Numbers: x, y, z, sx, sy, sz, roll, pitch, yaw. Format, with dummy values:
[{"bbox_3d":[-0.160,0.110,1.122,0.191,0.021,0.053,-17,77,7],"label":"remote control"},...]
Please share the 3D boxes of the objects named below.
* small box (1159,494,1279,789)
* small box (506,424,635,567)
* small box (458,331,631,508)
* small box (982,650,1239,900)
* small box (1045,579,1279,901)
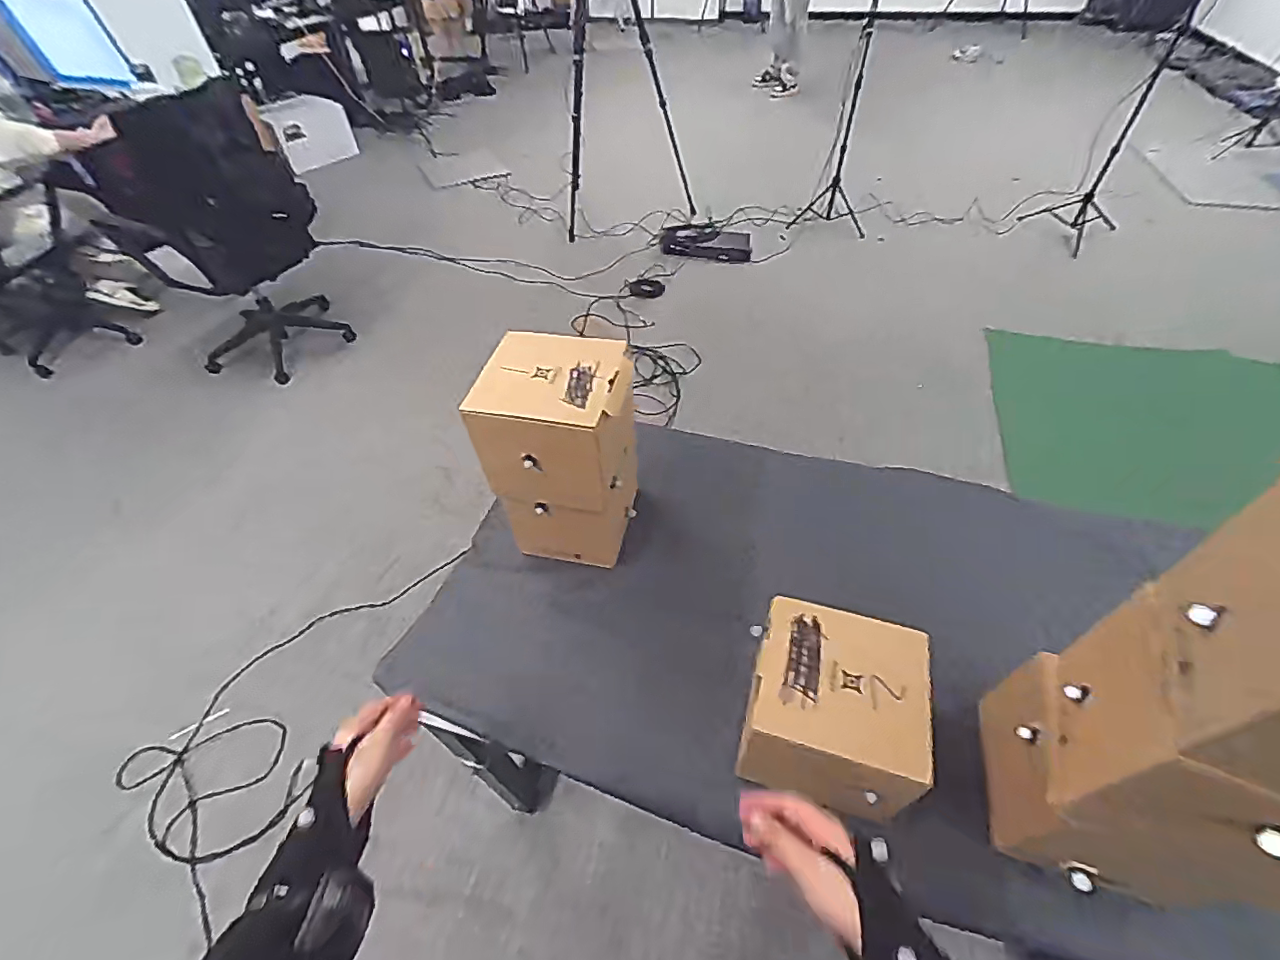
[{"bbox_3d":[0.483,0.108,0.335,0.179,0.176,0.168,21,52,22],"label":"small box"},{"bbox_3d":[-0.105,0.015,0.881,0.168,0.176,0.179,8,51,9],"label":"small box"},{"bbox_3d":[-0.114,-0.079,0.745,0.179,0.176,0.168,8,51,10],"label":"small box"},{"bbox_3d":[0.497,0.318,0.586,0.168,0.176,0.179,11,50,14],"label":"small box"},{"bbox_3d":[0.486,0.220,0.456,0.179,0.176,0.168,19,51,20],"label":"small box"}]
